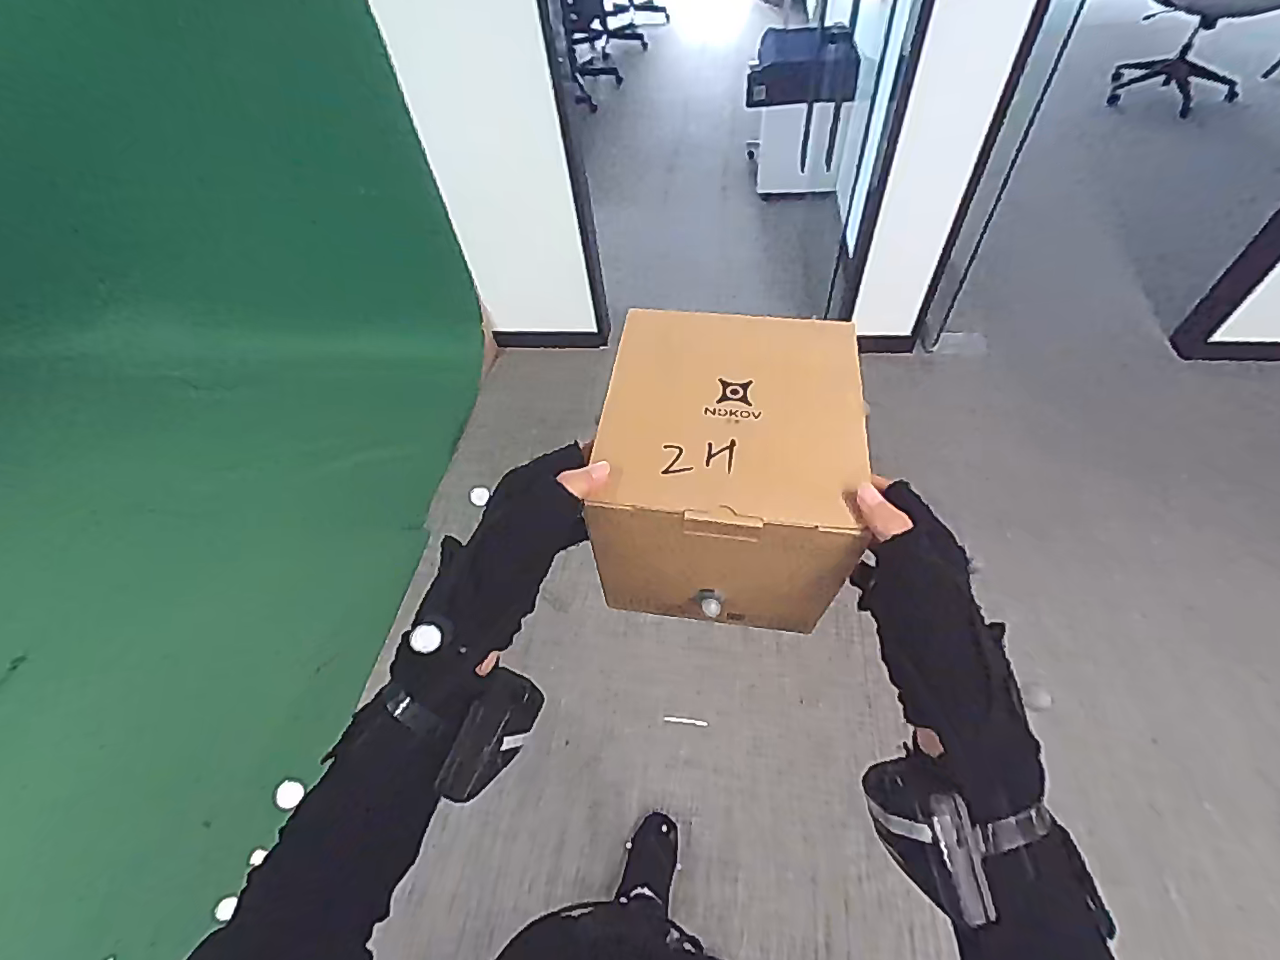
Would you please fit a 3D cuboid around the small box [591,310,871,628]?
[{"bbox_3d":[0.067,-0.005,0.423,0.168,0.176,0.179,6,56,8],"label":"small box"}]
